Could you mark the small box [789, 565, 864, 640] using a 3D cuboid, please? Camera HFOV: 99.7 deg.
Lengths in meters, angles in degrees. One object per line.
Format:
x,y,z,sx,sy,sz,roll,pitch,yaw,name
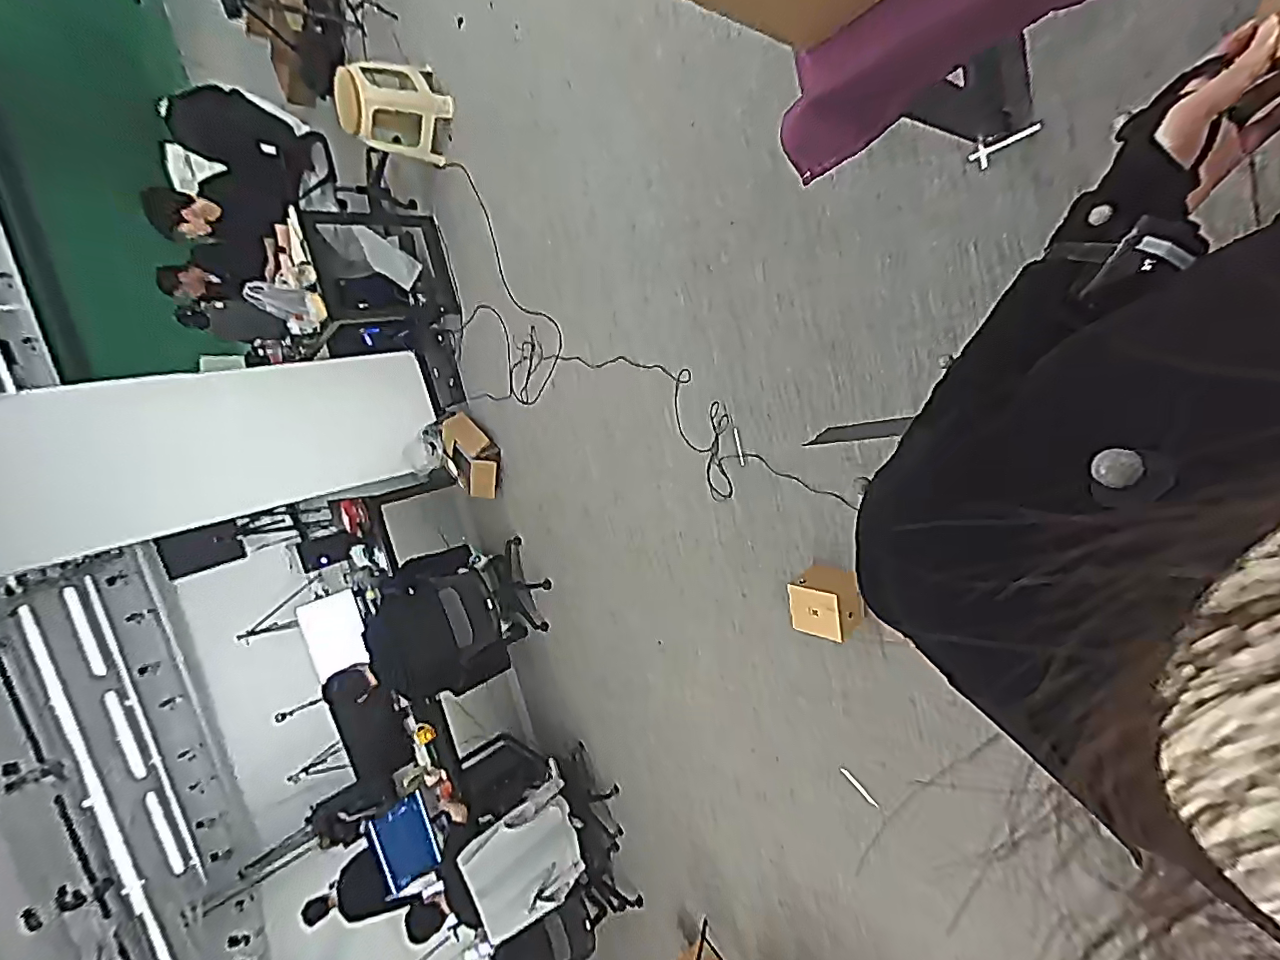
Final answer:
0.614,0.392,1.762,0.179,0.176,0.168,5,110,49,small box
